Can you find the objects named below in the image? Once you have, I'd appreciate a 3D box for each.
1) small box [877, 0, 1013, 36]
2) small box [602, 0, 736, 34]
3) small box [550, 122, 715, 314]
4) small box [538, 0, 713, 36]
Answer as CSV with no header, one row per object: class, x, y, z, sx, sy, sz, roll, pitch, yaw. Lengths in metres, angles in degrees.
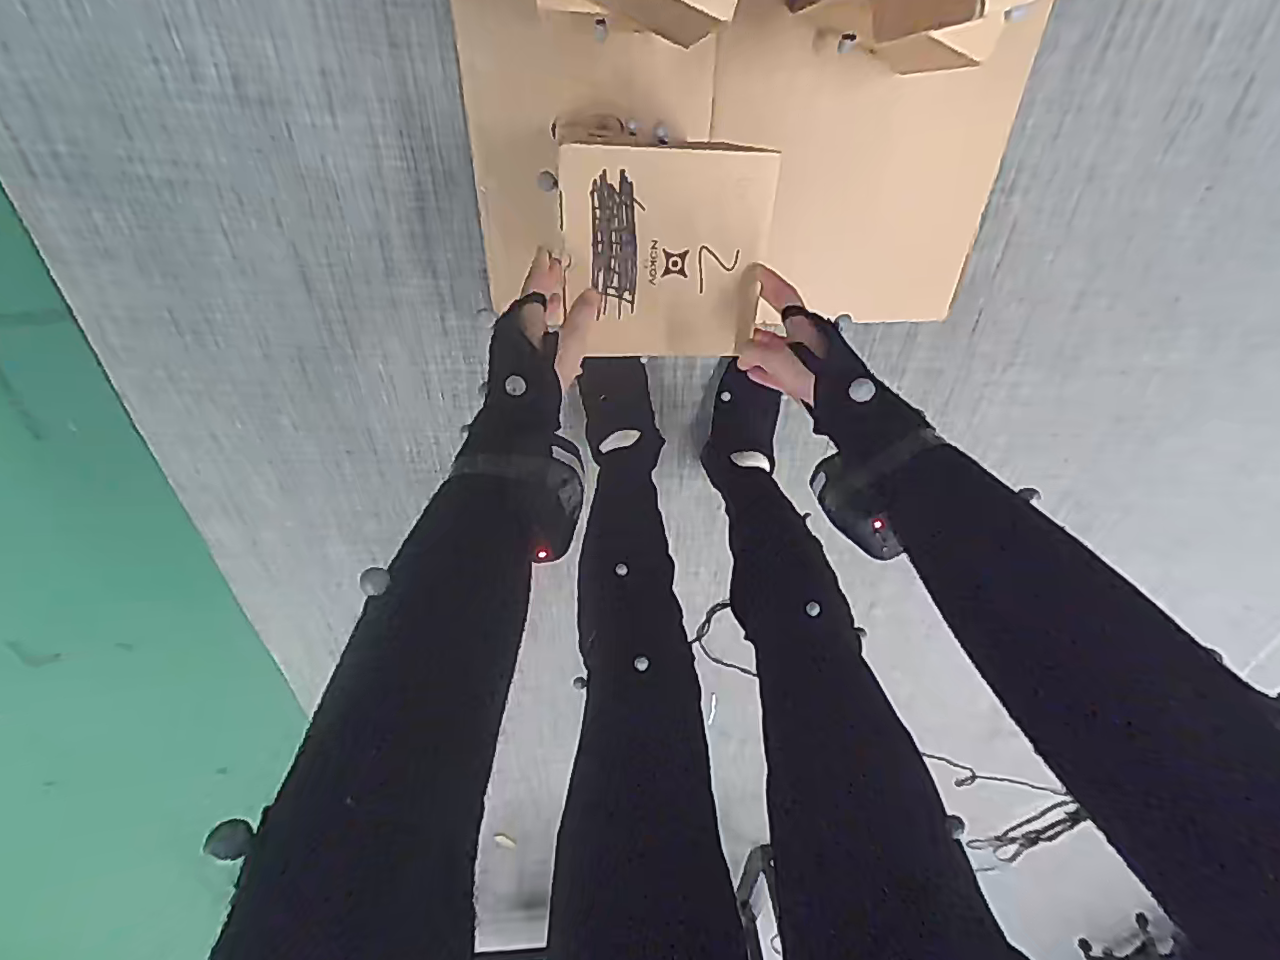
small box,0.288,-0.458,0.395,0.179,0.176,0.168,-16,124,6
small box,0.002,-0.447,0.376,0.179,0.176,0.168,14,121,-16
small box,-0.019,-0.321,0.659,0.168,0.176,0.179,3,123,-9
small box,-0.012,-0.542,0.510,0.168,0.176,0.179,-1,123,-6
